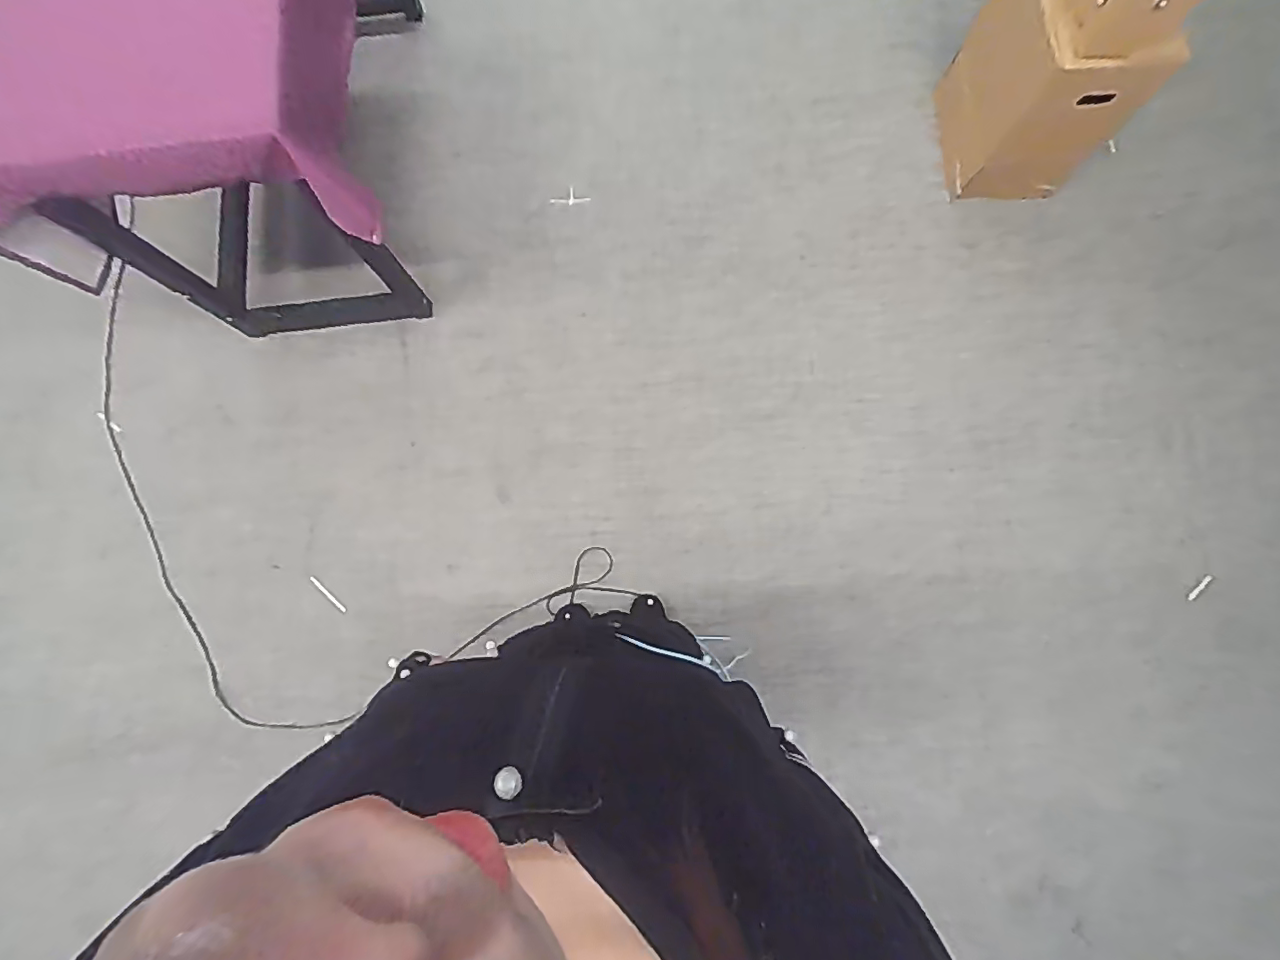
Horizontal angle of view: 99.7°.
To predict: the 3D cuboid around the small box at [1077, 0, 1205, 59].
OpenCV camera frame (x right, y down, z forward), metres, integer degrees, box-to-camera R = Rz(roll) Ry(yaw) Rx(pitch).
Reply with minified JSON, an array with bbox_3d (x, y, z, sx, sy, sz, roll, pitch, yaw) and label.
[{"bbox_3d":[1.105,-1.067,1.185,0.179,0.176,0.168,1,79,1],"label":"small box"}]
